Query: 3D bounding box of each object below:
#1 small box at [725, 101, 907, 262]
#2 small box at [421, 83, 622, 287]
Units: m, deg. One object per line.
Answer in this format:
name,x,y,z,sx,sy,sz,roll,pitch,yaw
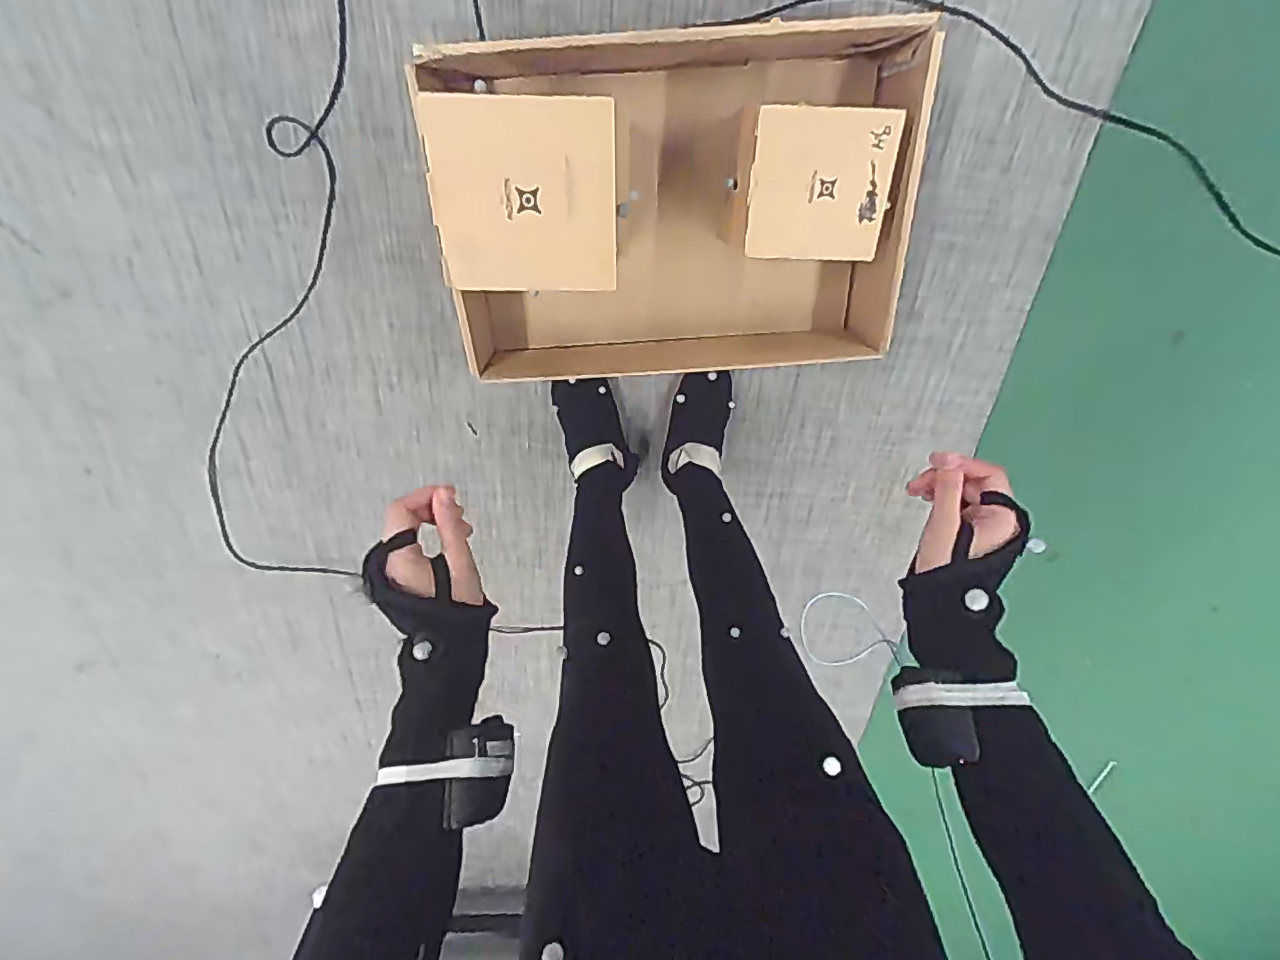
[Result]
small box,0.218,-0.396,0.730,0.179,0.176,0.168,2,119,-3
small box,-0.109,-0.309,0.577,0.179,0.176,0.168,0,121,-4
